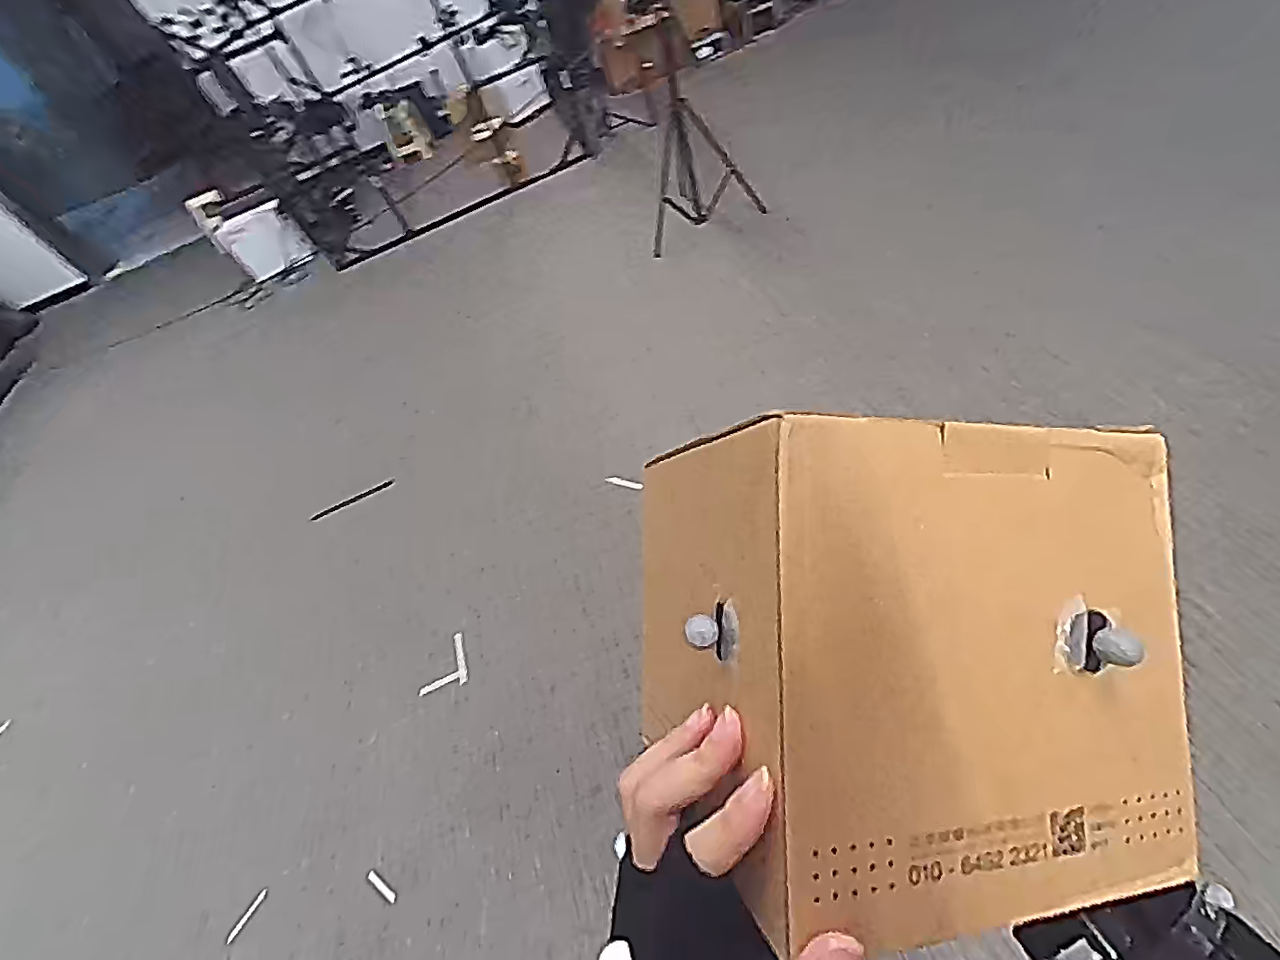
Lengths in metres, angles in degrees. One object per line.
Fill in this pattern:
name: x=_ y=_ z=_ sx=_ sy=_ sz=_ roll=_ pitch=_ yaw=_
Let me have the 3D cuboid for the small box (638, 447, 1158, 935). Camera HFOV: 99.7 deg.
small box: x=0.099 y=0.079 z=0.266 sx=0.168 sy=0.179 sz=0.176 roll=0 pitch=85 yaw=-13
